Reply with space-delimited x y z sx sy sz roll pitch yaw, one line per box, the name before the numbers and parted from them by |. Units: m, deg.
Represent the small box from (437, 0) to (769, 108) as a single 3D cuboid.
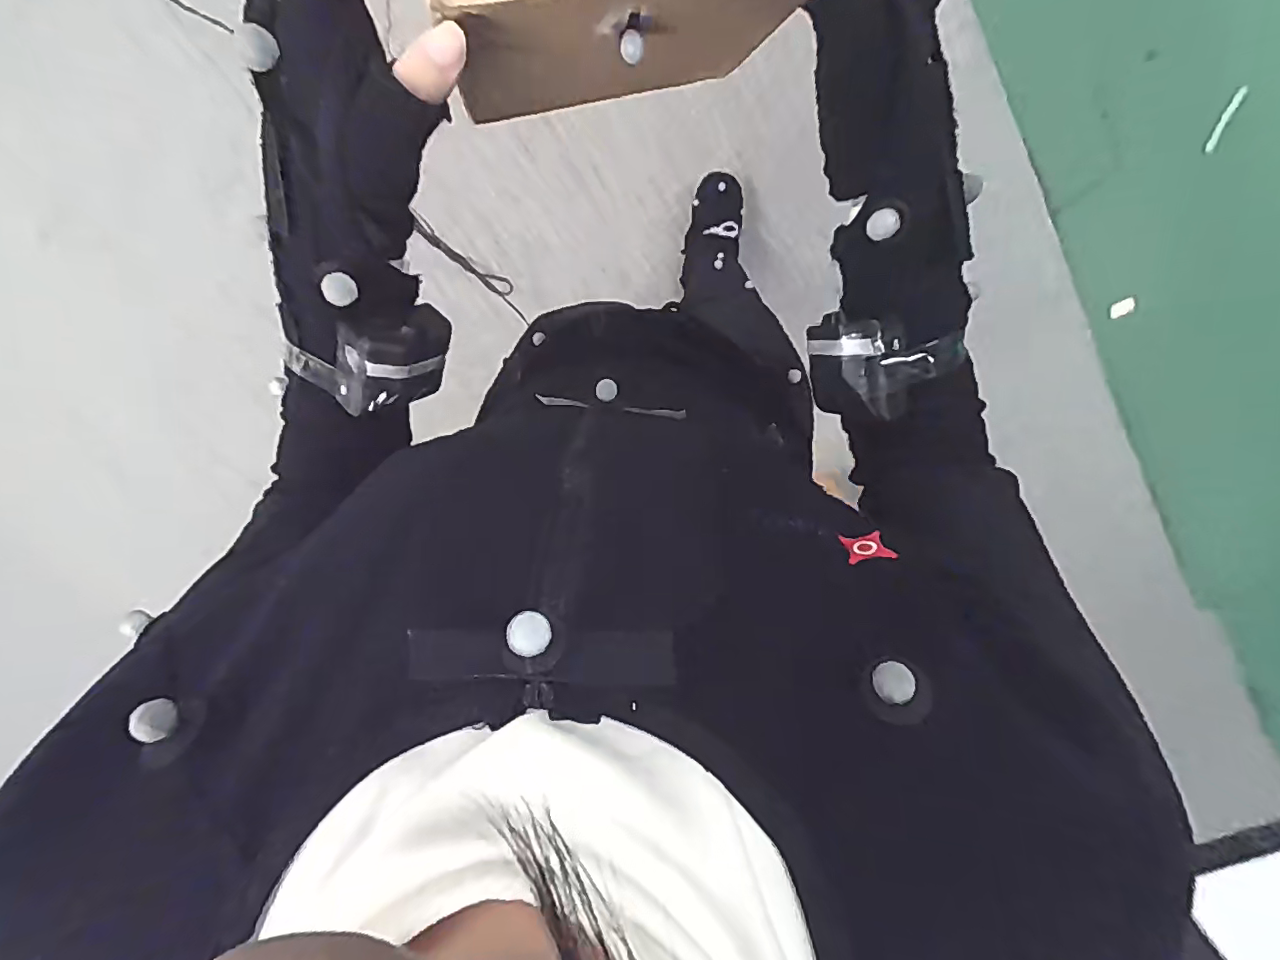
small box | -0.024 -0.296 0.244 0.179 0.176 0.168 -16 114 -6
